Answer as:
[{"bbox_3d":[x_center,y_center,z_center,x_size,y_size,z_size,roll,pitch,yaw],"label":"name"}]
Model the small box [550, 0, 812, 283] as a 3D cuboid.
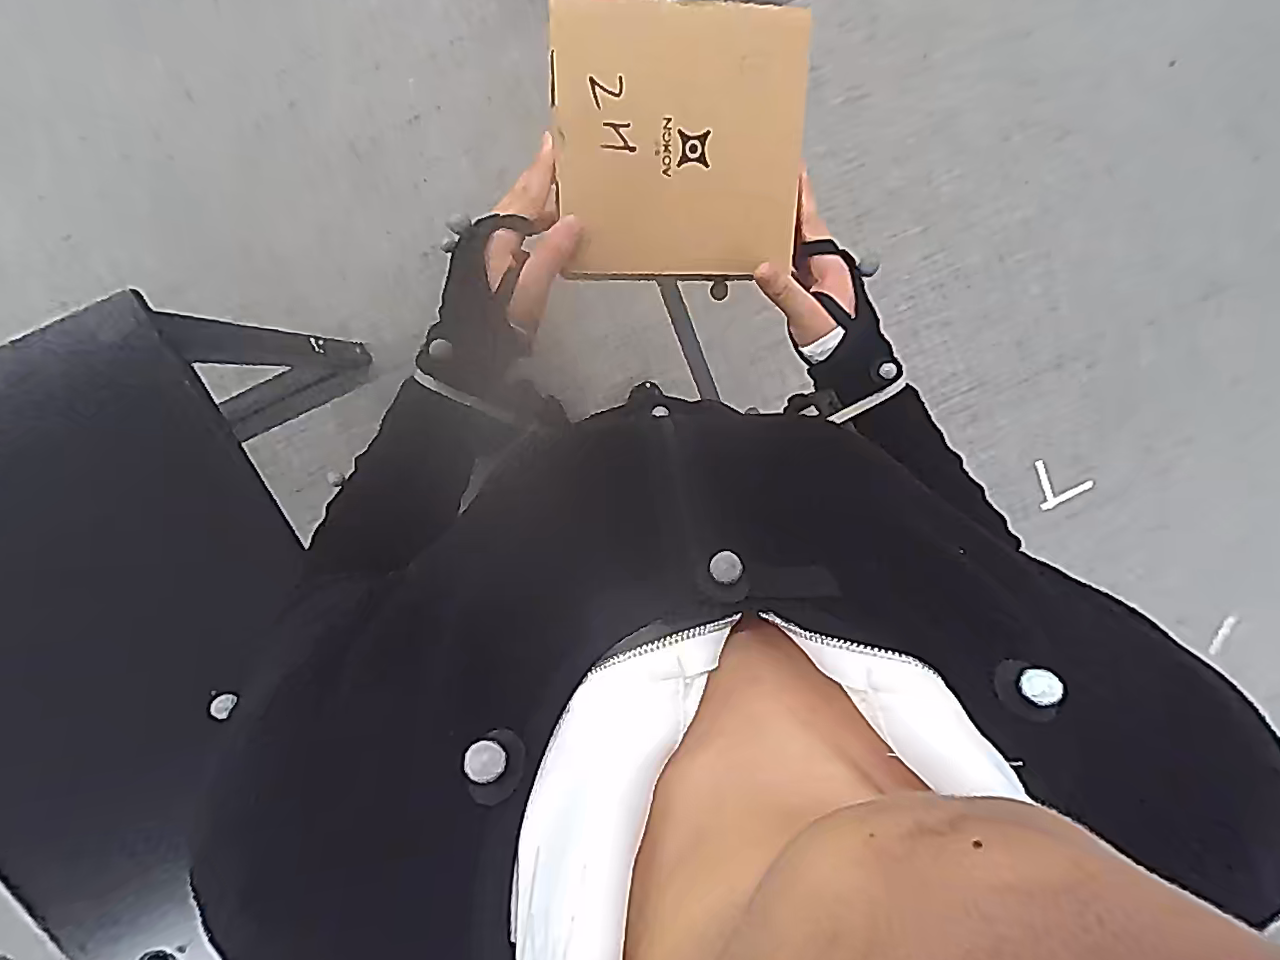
[{"bbox_3d":[0.018,-0.255,0.448,0.179,0.176,0.168,-2,109,-6],"label":"small box"}]
